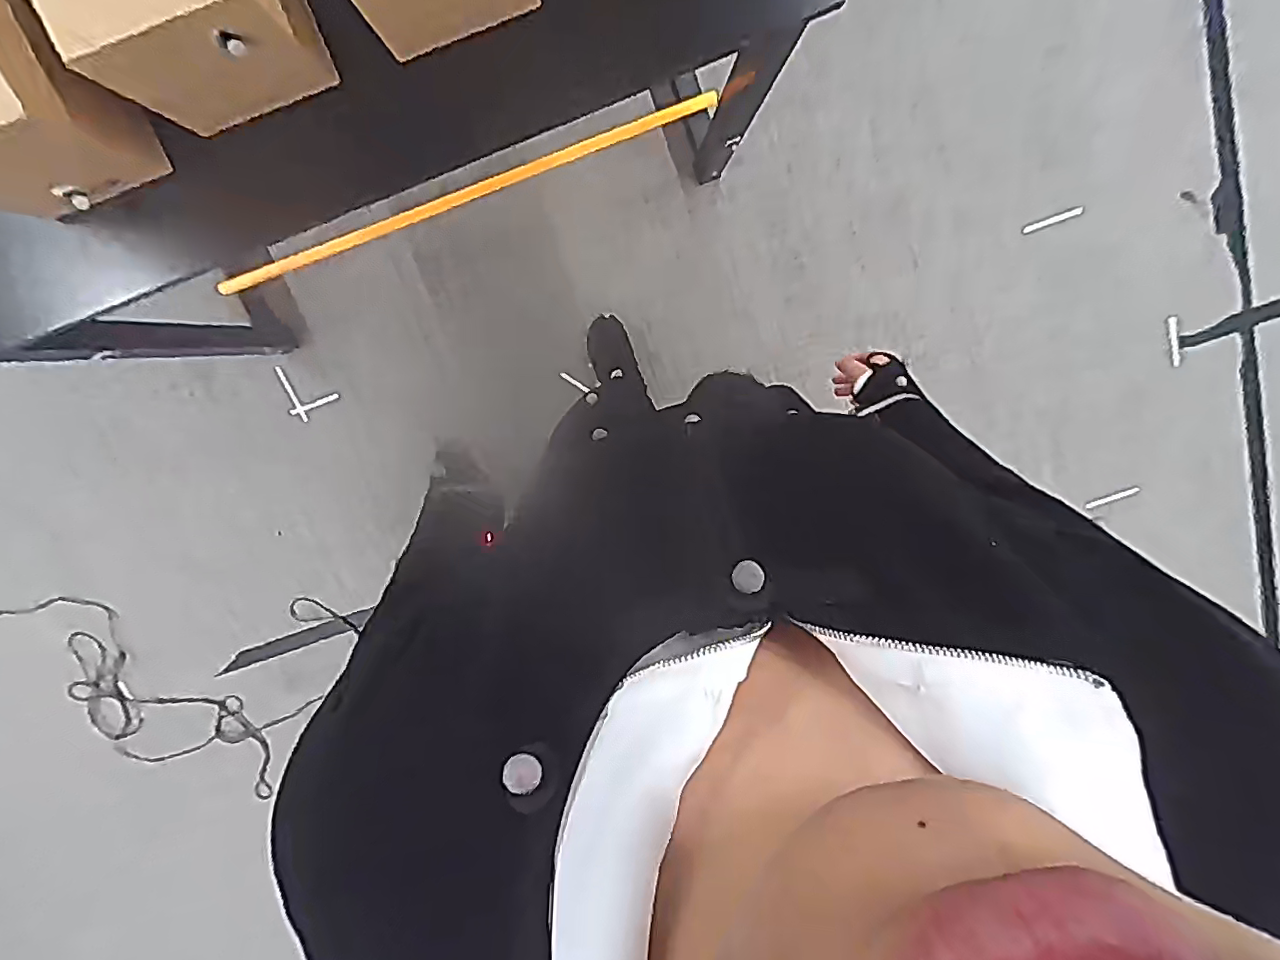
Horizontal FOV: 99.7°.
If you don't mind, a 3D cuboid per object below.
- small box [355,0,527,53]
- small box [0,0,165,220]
[{"bbox_3d":[-0.218,-0.553,0.507,0.179,0.176,0.168,-20,104,2],"label":"small box"},{"bbox_3d":[-0.646,-0.387,0.533,0.168,0.176,0.179,-21,105,4],"label":"small box"}]
